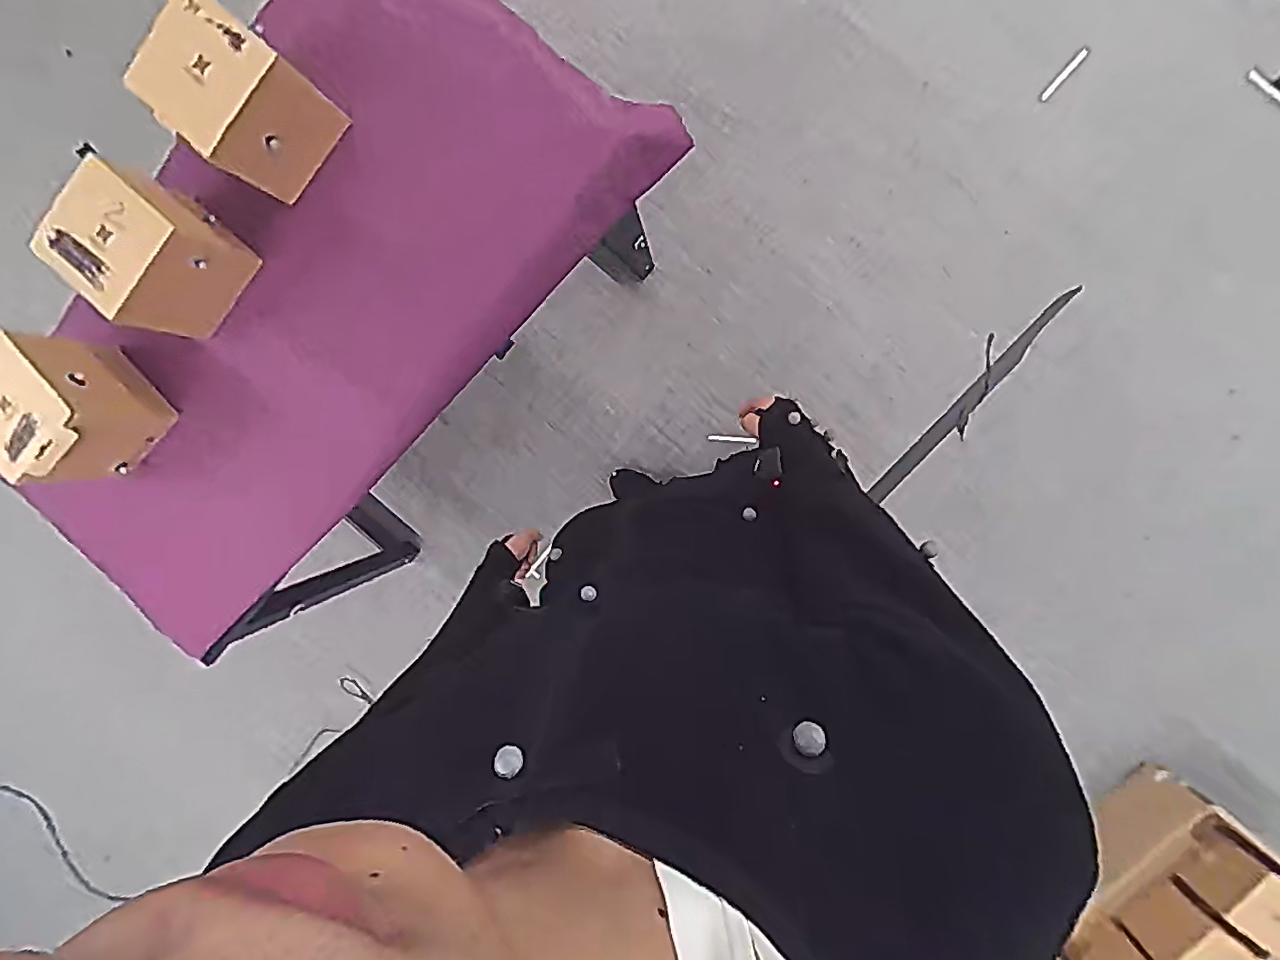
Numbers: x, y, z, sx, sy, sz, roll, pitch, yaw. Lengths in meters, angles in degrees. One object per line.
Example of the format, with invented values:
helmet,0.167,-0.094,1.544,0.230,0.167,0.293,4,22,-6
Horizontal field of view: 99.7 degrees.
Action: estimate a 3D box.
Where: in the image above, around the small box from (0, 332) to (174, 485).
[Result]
small box,-0.946,-0.116,0.898,0.168,0.176,0.179,-43,90,8
